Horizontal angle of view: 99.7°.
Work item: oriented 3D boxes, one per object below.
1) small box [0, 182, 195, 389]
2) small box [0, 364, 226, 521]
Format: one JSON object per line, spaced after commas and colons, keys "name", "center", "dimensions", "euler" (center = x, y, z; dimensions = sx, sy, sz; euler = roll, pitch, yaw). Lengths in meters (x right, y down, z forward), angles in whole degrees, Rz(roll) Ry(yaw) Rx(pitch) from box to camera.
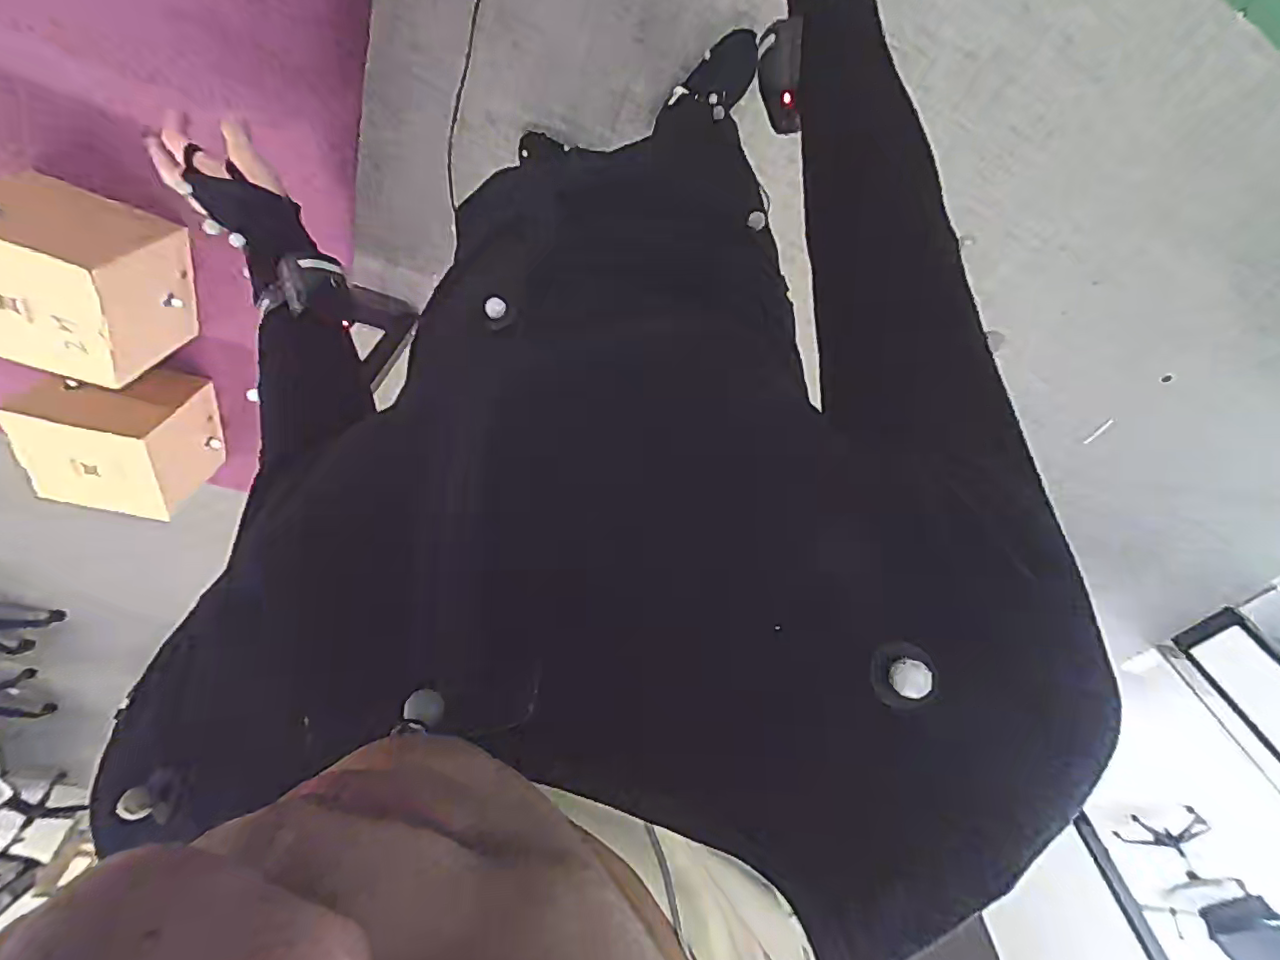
{"name": "small box", "center": [-0.711, -0.248, 0.677], "dimensions": [0.179, 0.176, 0.168], "euler": [18, 128, -16]}
{"name": "small box", "center": [-0.788, -0.066, 0.830], "dimensions": [0.179, 0.176, 0.168], "euler": [13, 129, -12]}
